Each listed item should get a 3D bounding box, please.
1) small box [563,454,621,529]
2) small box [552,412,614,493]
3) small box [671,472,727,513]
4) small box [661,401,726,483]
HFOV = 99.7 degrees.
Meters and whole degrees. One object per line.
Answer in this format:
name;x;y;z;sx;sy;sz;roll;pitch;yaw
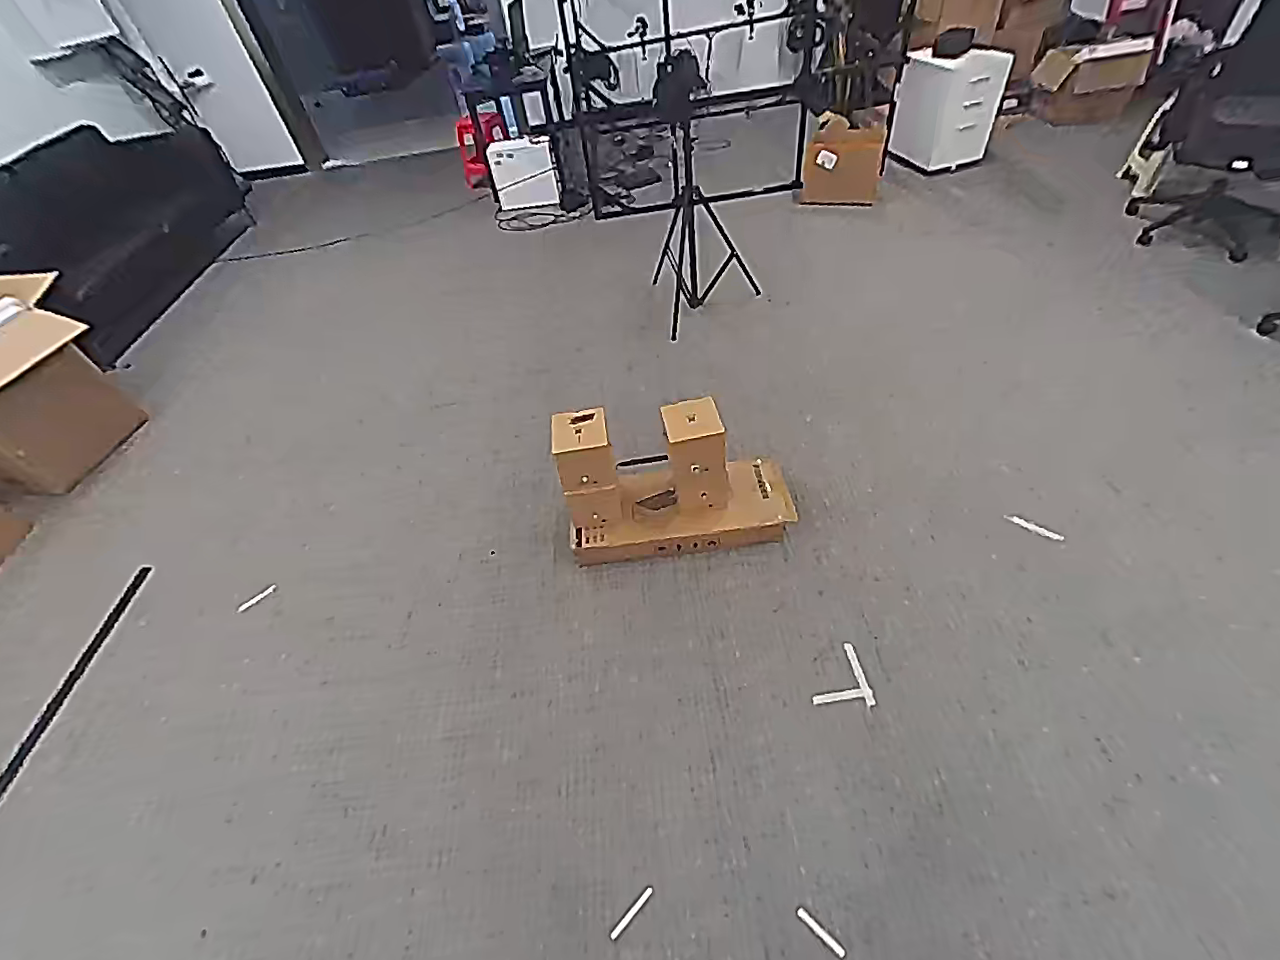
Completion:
small box;-0.156;0.039;1.792;0.168;0.176;0.179;-8;46;1
small box;-0.176;-0.085;1.685;0.168;0.176;0.179;-9;46;0
small box;0.191;-0.006;1.788;0.168;0.176;0.179;-10;47;1
small box;0.163;-0.116;1.670;0.168;0.176;0.179;-12;46;-1
